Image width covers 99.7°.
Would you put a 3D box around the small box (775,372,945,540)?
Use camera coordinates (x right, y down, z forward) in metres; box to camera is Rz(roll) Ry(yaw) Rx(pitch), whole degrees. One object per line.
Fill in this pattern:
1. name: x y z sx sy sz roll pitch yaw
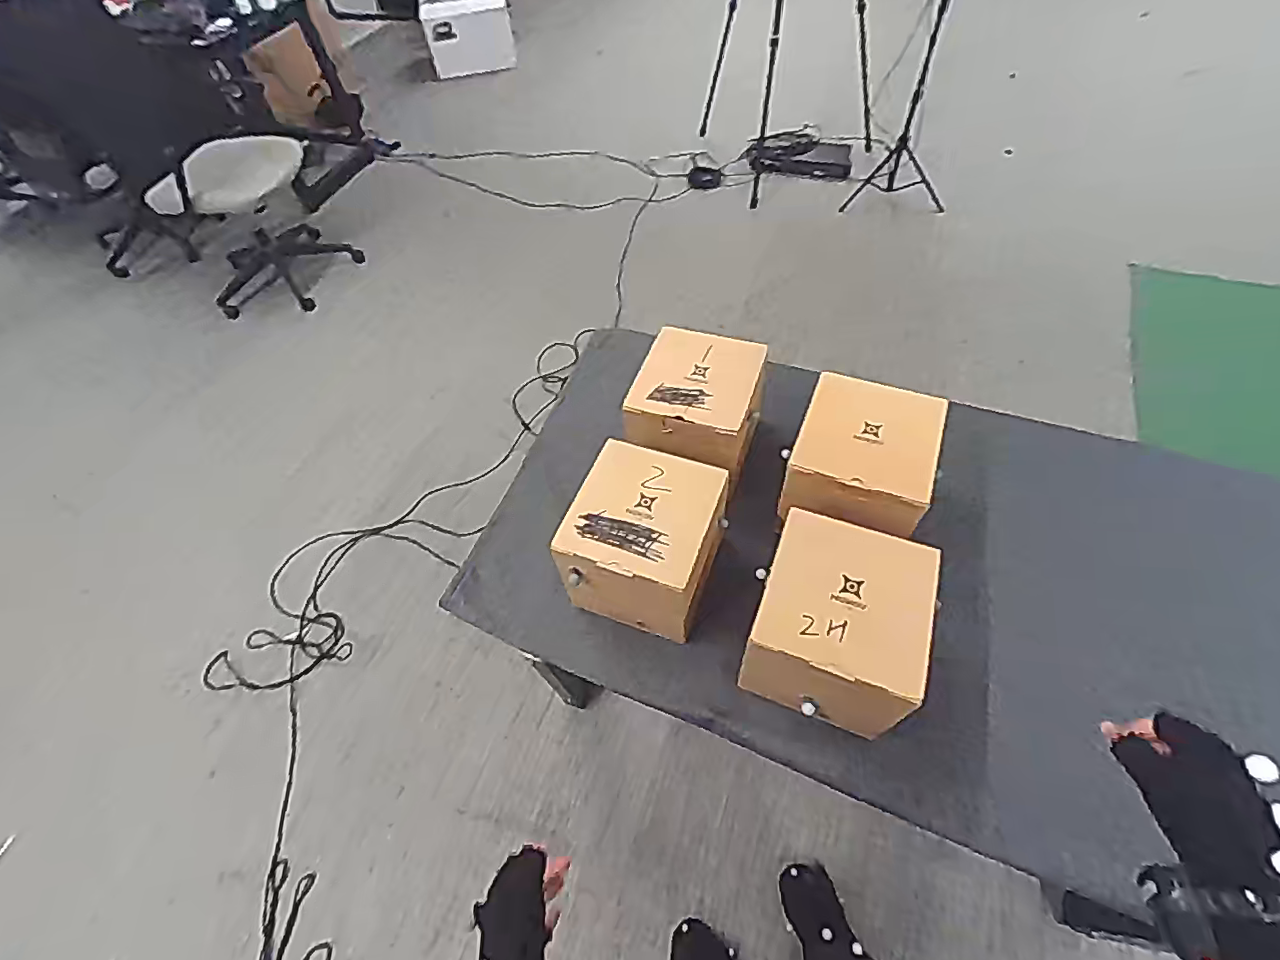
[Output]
1. small box: 0.297 -0.015 0.753 0.168 0.176 0.179 18 60 16

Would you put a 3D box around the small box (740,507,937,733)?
1. small box: 0.222 0.166 0.632 0.168 0.176 0.179 17 58 17

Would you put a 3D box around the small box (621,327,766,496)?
1. small box: 0.086 -0.101 0.829 0.168 0.176 0.179 16 58 15
